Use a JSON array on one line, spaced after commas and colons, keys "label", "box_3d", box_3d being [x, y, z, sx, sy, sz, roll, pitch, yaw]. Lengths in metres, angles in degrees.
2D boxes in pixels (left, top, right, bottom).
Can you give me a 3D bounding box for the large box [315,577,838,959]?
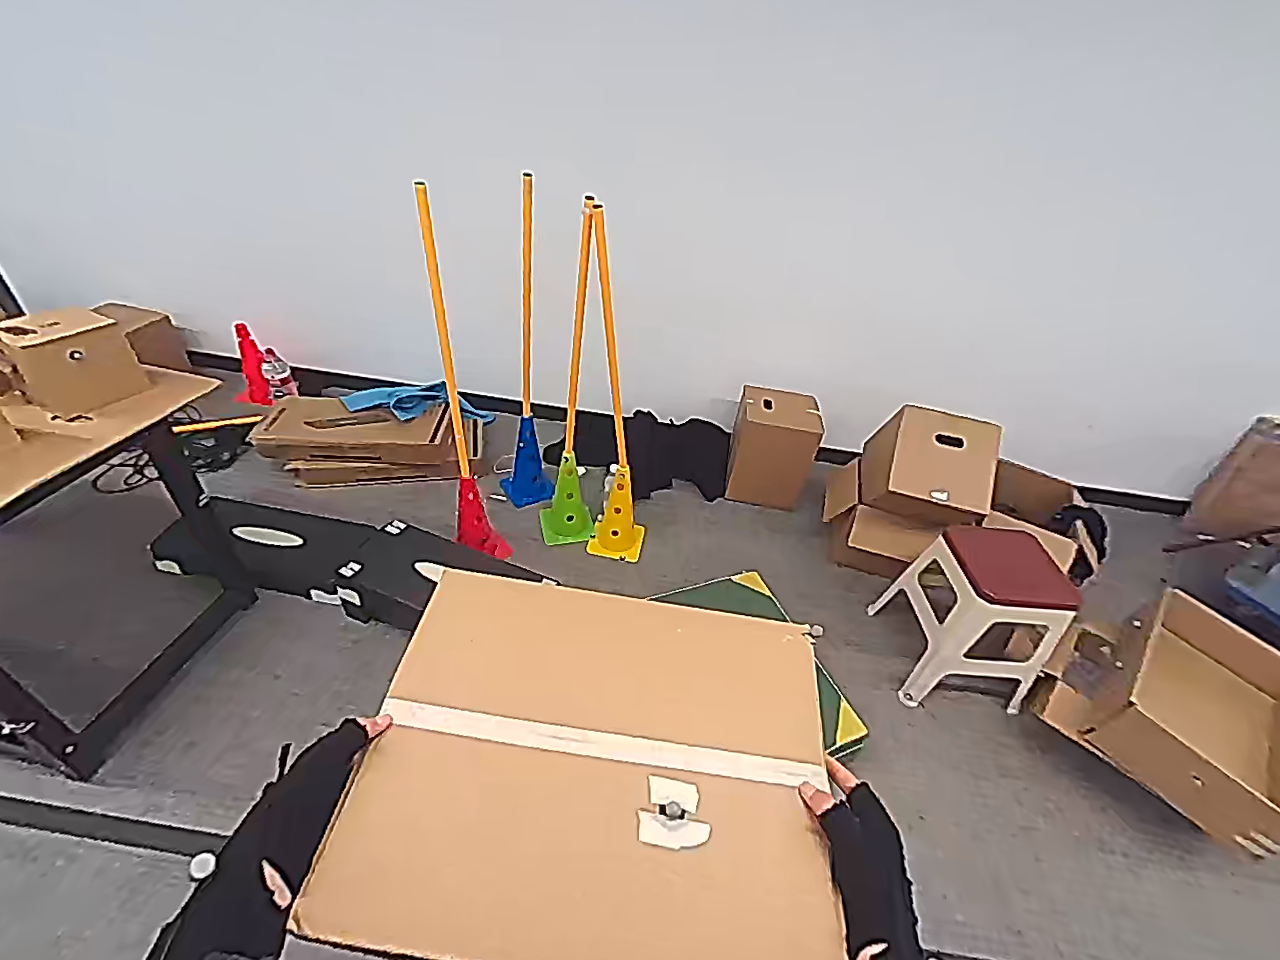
[{"label": "large box", "box_3d": [-0.048, 0.347, 0.608, 0.408, 0.320, 0.320, 9, 46, 1]}]
